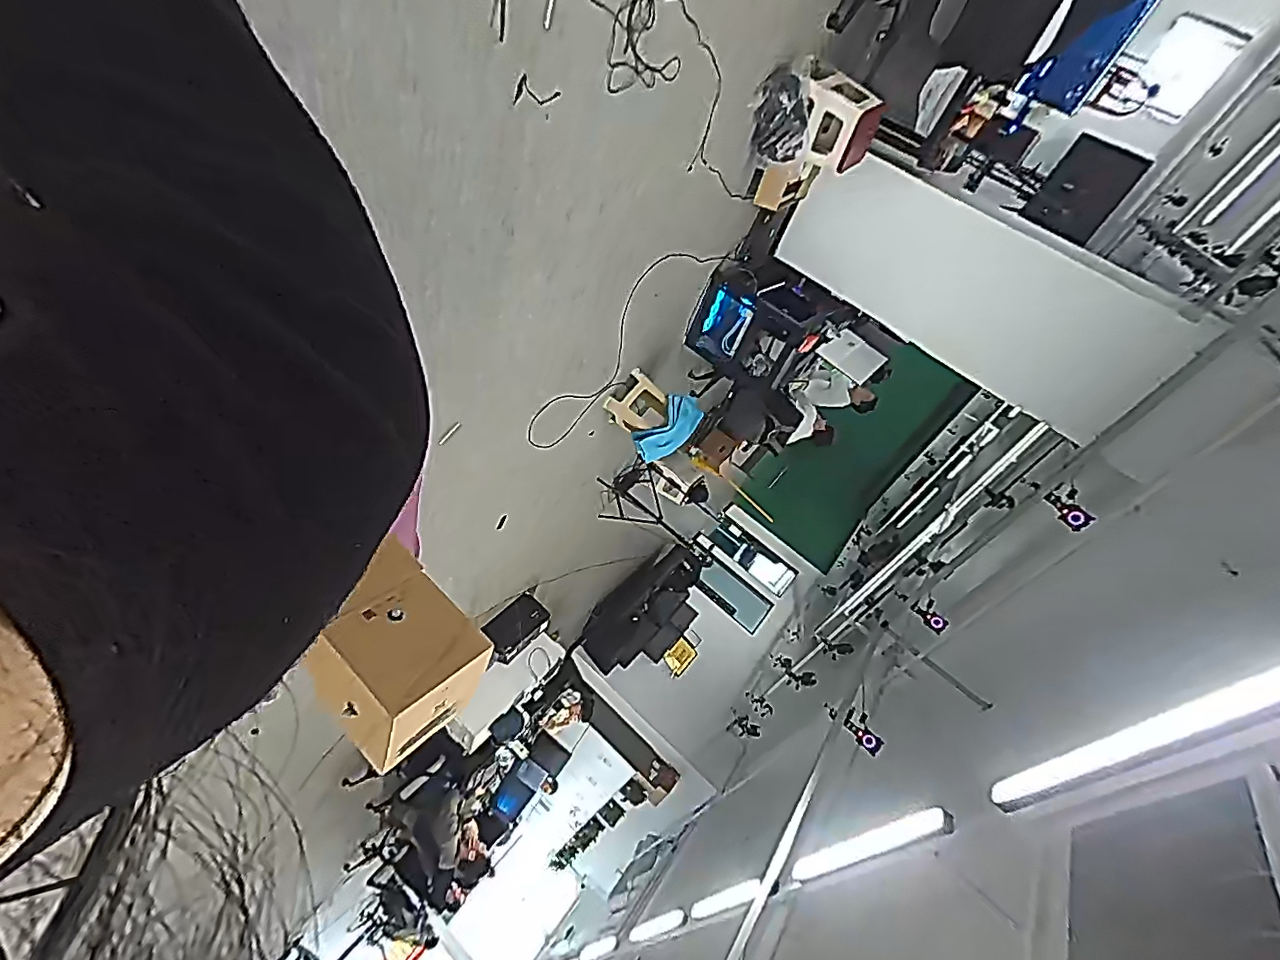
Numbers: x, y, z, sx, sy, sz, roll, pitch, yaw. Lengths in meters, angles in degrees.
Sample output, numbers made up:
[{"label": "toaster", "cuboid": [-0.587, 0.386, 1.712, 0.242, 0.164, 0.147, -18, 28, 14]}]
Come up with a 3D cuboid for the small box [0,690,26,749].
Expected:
[{"label": "small box", "cuboid": [-0.829, 0.235, 0.571, 0.168, 0.176, 0.179, -36, 157, -46]}]

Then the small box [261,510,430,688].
[{"label": "small box", "cuboid": [-0.461, 0.180, 0.850, 0.168, 0.176, 0.179, -32, 155, -48]}]
